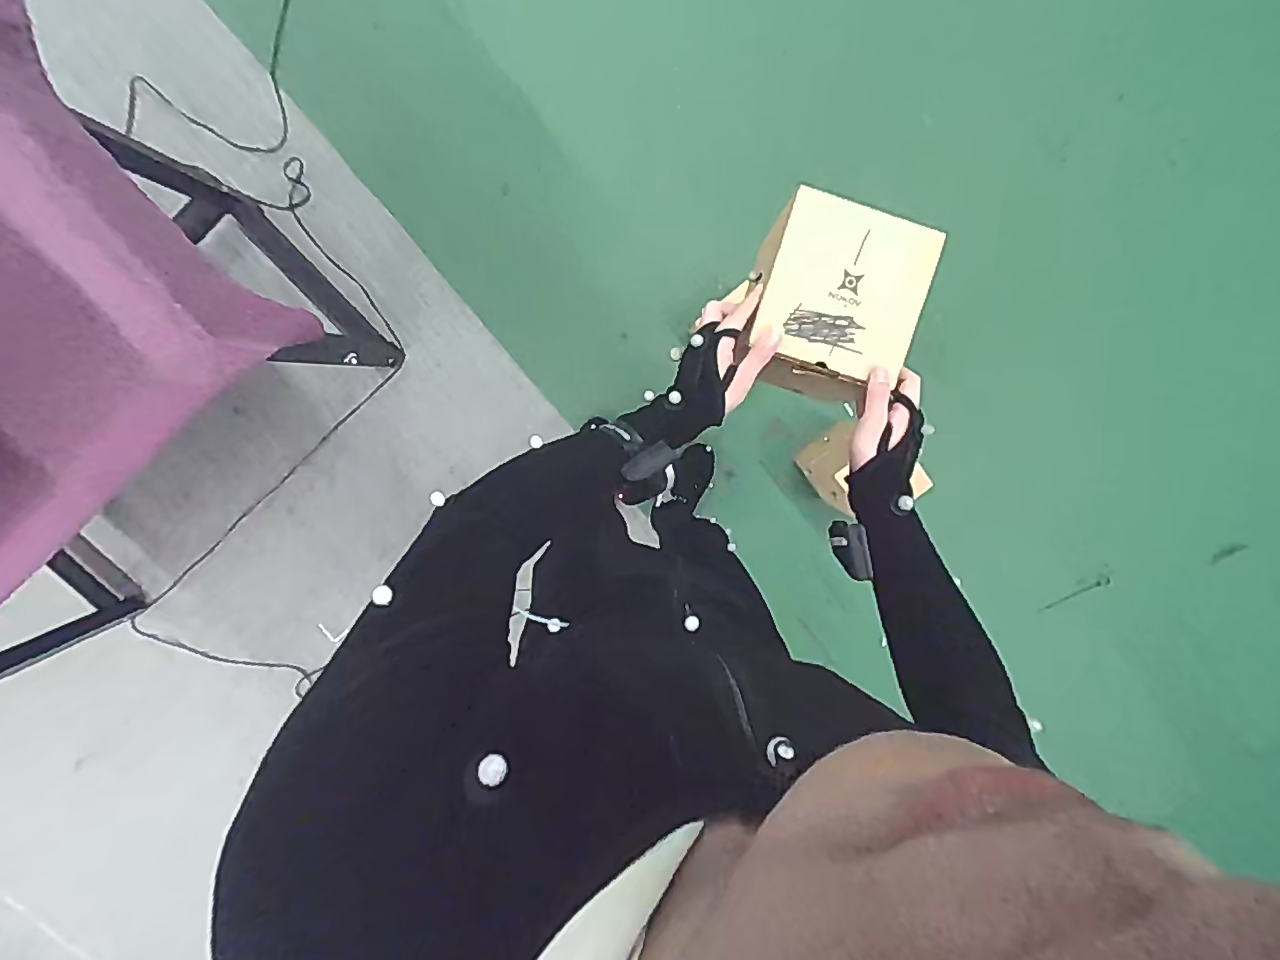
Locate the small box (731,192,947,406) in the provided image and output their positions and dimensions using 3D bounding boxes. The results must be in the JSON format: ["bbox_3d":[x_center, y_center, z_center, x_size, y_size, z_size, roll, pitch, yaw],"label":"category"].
[{"bbox_3d":[0.216,-0.195,0.641,0.168,0.176,0.179,17,92,-2],"label":"small box"}]

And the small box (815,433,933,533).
[{"bbox_3d":[0.565,-0.002,1.329,0.179,0.176,0.168,-38,98,6],"label":"small box"}]

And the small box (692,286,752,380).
[{"bbox_3d":[0.254,-0.383,1.434,0.179,0.176,0.168,-39,98,7],"label":"small box"}]
